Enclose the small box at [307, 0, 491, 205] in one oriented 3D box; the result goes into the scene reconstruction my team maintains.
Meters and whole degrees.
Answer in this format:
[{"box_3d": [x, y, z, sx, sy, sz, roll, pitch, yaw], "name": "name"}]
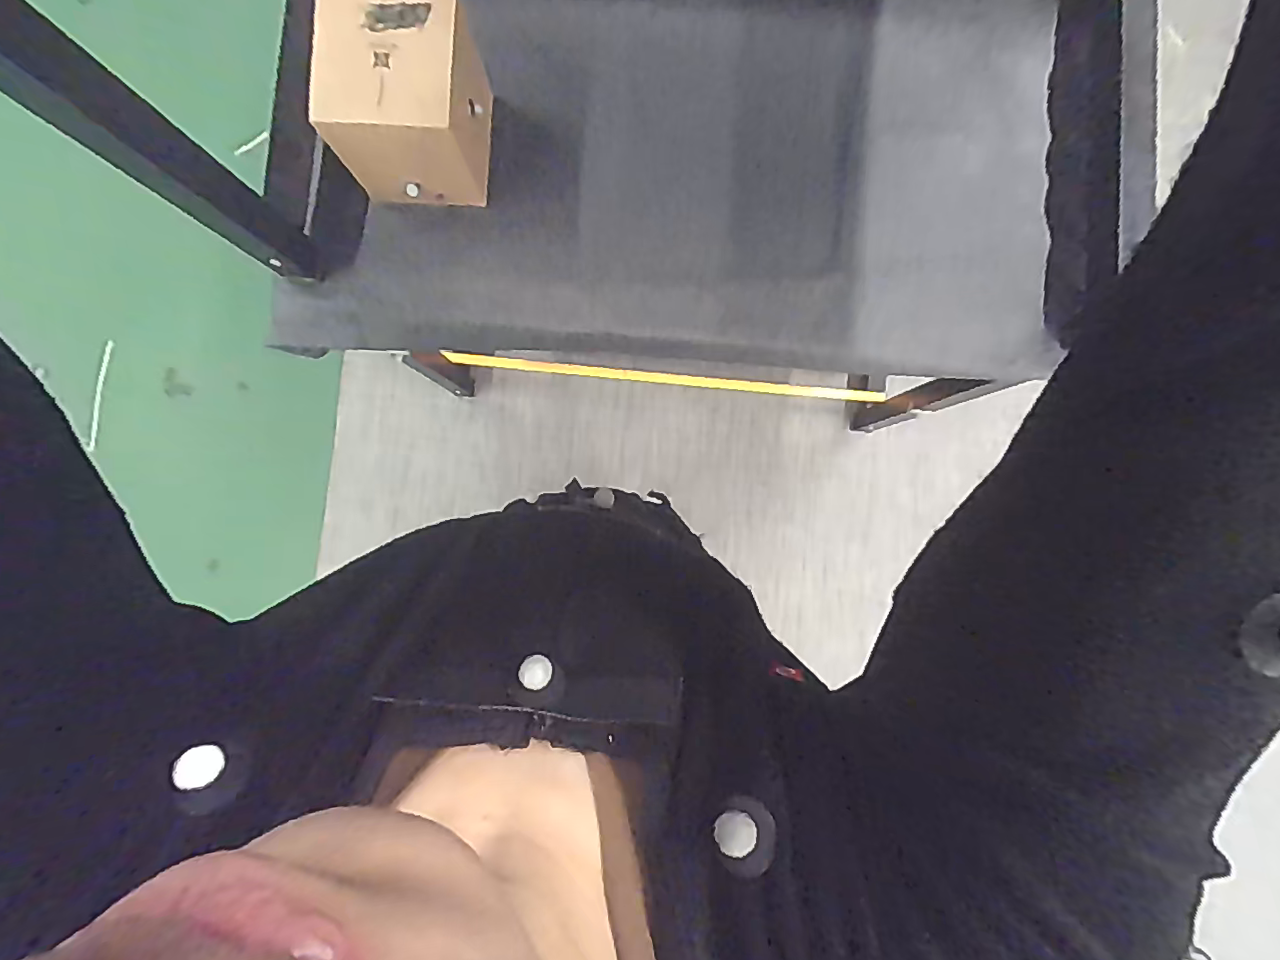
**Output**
[{"box_3d": [-0.301, -0.496, 0.711, 0.168, 0.176, 0.179, 2, 87, 0], "name": "small box"}]
